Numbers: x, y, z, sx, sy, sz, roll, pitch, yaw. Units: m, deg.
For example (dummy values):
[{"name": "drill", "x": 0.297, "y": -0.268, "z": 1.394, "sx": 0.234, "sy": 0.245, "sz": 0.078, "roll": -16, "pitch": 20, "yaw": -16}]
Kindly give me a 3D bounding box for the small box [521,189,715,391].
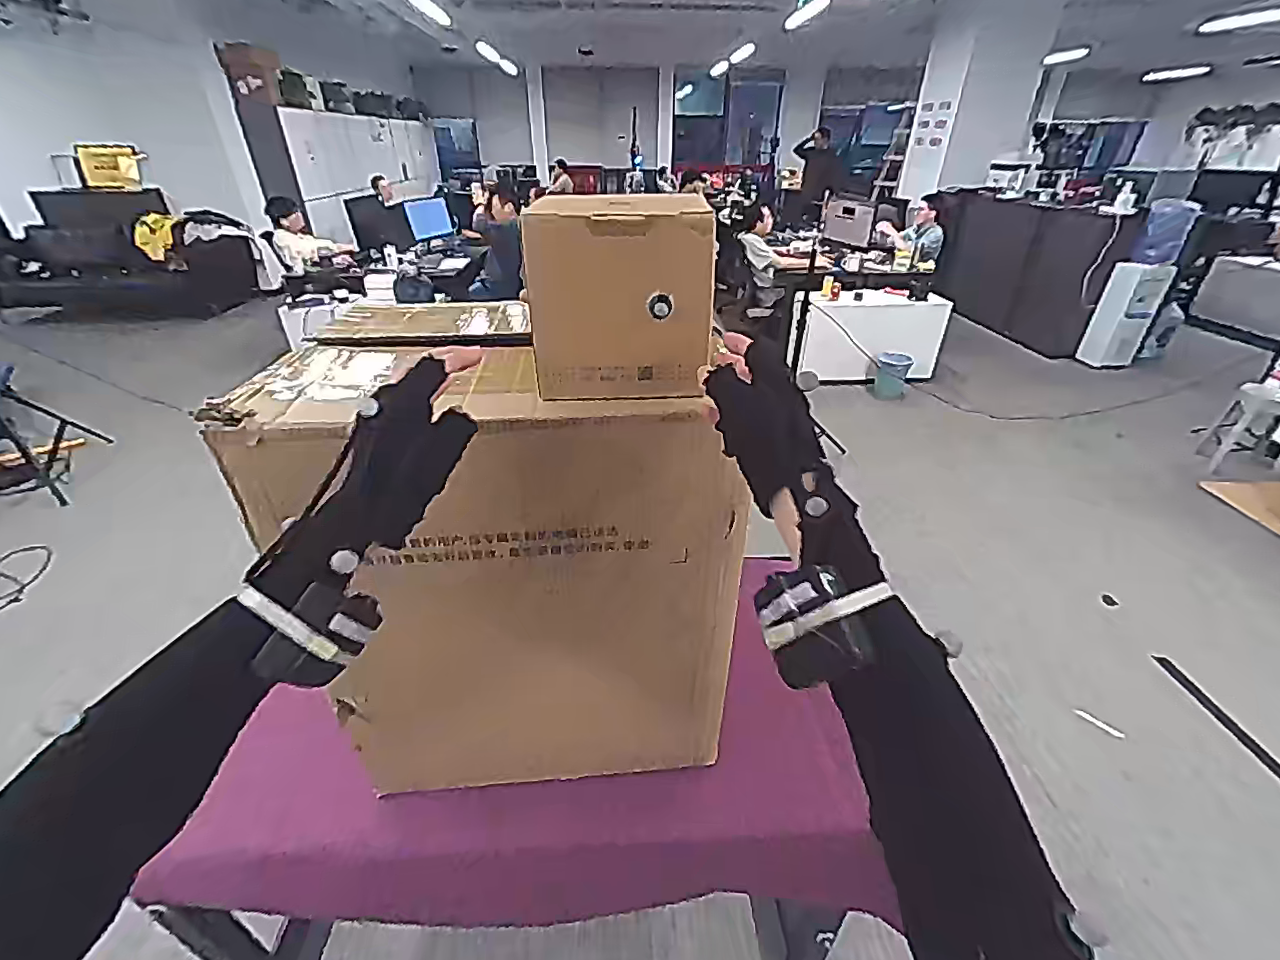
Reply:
[{"name": "small box", "x": -0.017, "y": -0.197, "z": 0.557, "sx": 0.168, "sy": 0.176, "sz": 0.179, "roll": -1, "pitch": 31, "yaw": -1}]
